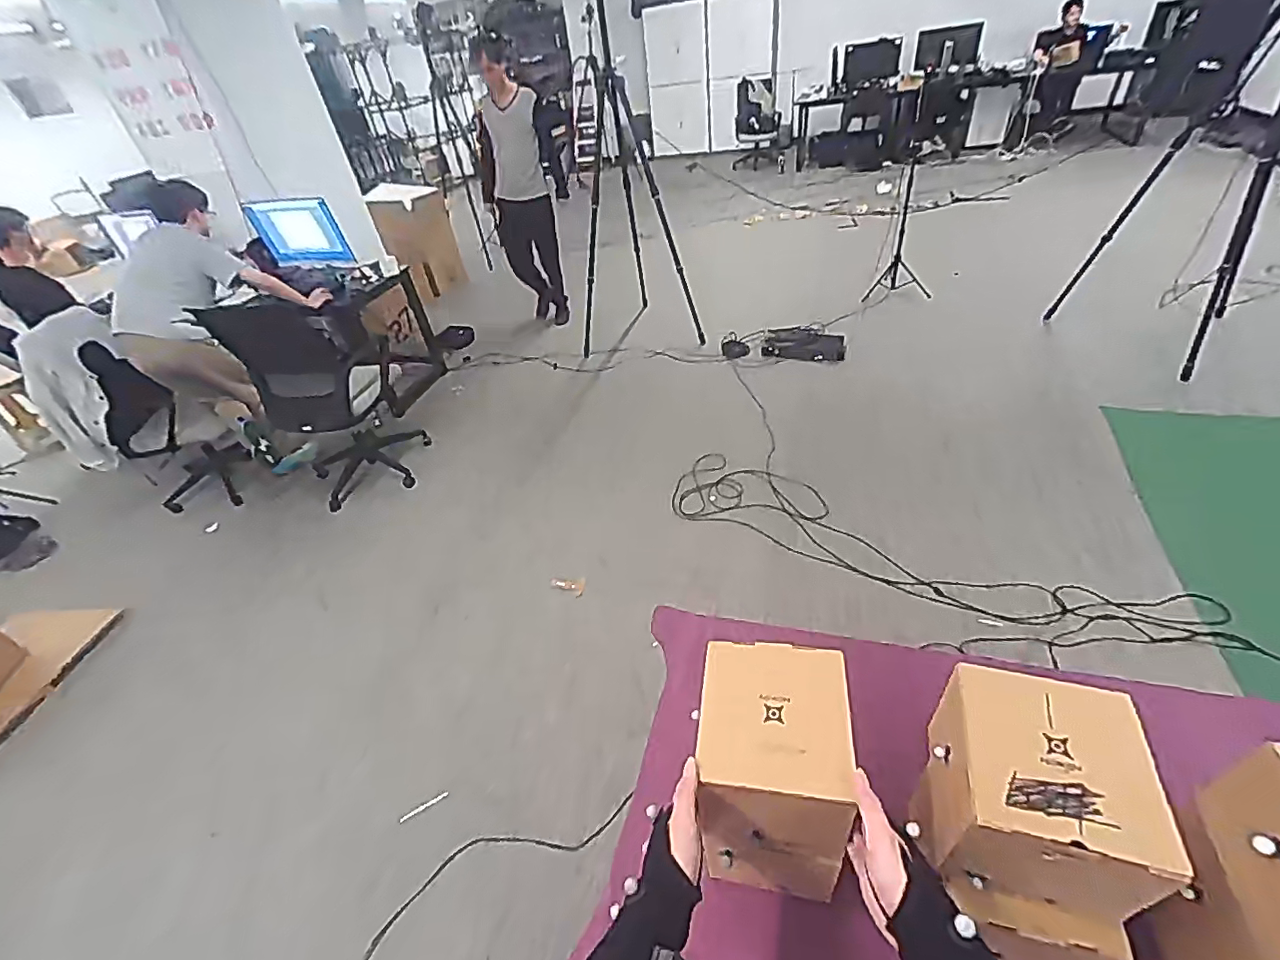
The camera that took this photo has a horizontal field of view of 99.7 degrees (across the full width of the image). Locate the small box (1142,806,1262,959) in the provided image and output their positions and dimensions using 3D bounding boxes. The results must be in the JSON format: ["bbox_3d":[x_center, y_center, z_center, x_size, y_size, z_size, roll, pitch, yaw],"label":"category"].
[{"bbox_3d":[0.698,0.499,0.592,0.168,0.176,0.179,2,40,15],"label":"small box"}]

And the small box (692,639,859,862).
[{"bbox_3d":[0.158,0.318,0.648,0.168,0.176,0.179,0,39,13],"label":"small box"}]

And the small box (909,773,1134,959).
[{"bbox_3d":[0.445,0.480,0.670,0.168,0.176,0.179,4,42,15],"label":"small box"}]

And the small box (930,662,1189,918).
[{"bbox_3d":[0.427,0.335,0.590,0.168,0.176,0.179,6,42,19],"label":"small box"}]

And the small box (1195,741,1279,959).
[{"bbox_3d":[0.678,0.373,0.490,0.168,0.176,0.179,2,39,15],"label":"small box"}]
